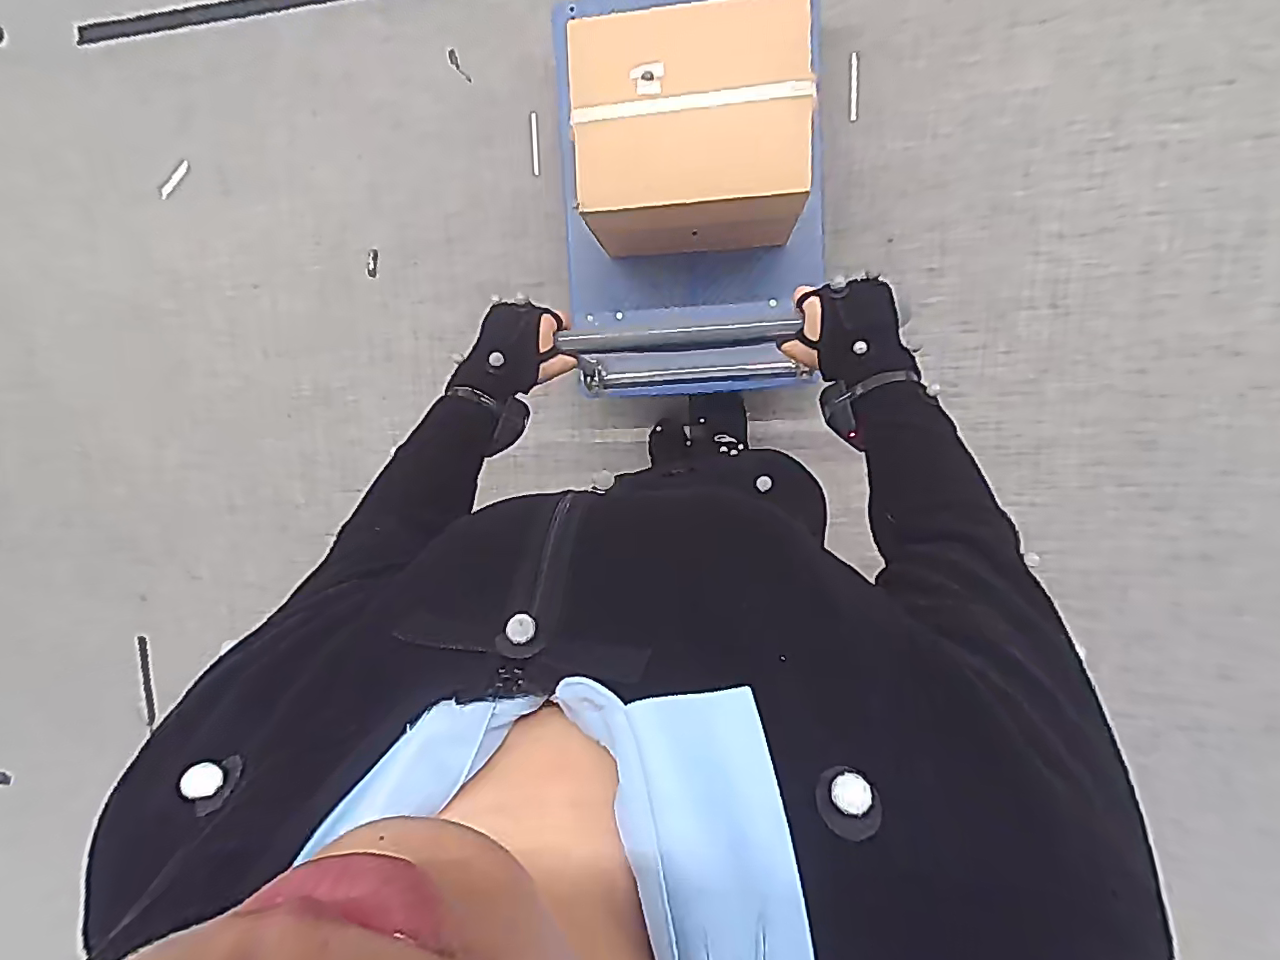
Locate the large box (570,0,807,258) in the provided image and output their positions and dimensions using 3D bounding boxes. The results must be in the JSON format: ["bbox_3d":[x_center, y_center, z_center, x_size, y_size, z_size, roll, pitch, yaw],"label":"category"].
[{"bbox_3d":[0.104,-0.659,1.083,0.408,0.320,0.320,-2,97,9],"label":"large box"}]
